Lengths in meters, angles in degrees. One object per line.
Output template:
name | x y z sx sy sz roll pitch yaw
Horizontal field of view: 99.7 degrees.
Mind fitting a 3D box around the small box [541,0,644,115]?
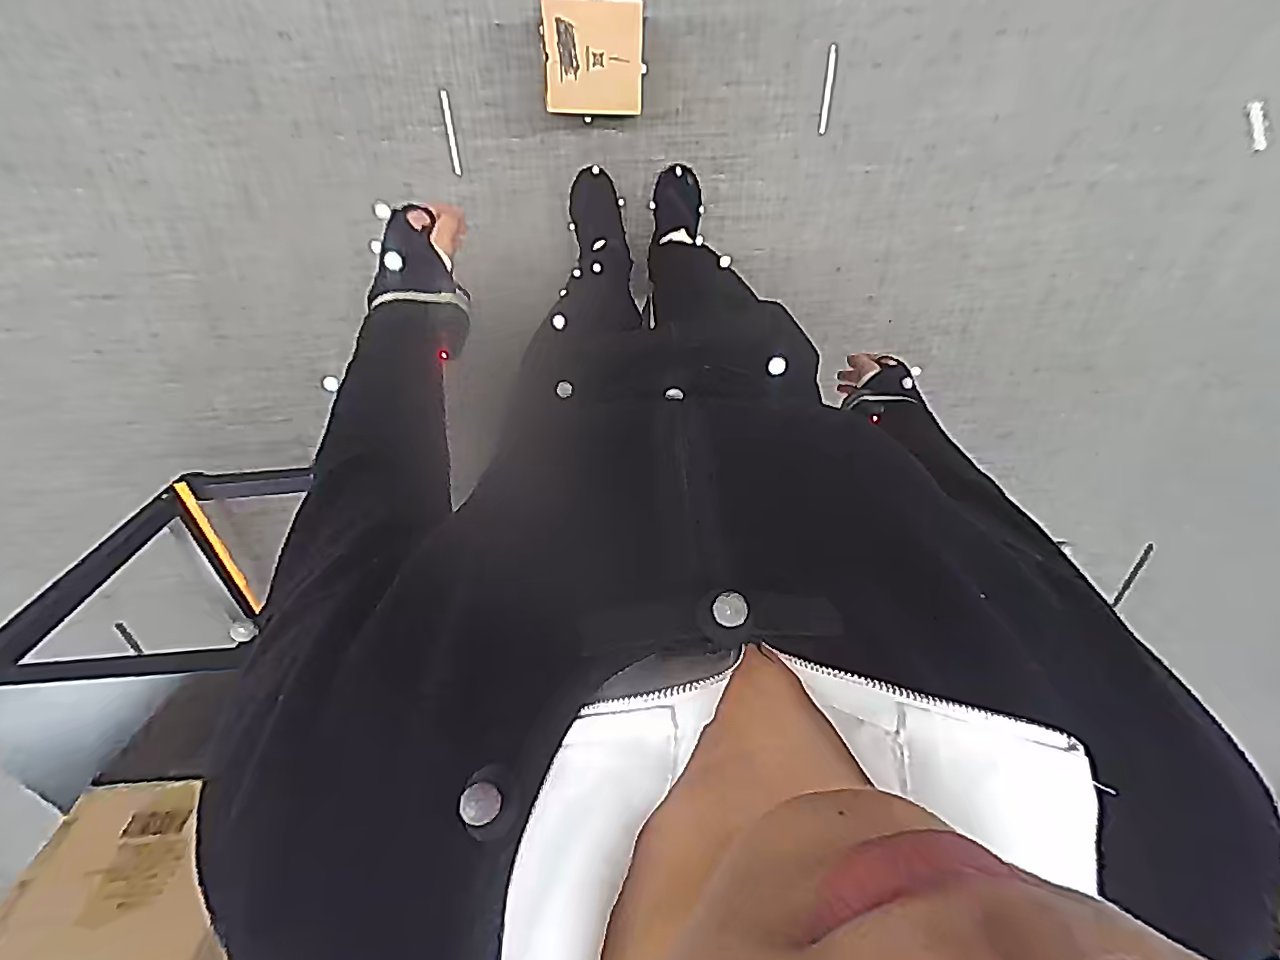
small box | -0.087 -0.792 1.020 0.179 0.176 0.168 -1 125 -5
